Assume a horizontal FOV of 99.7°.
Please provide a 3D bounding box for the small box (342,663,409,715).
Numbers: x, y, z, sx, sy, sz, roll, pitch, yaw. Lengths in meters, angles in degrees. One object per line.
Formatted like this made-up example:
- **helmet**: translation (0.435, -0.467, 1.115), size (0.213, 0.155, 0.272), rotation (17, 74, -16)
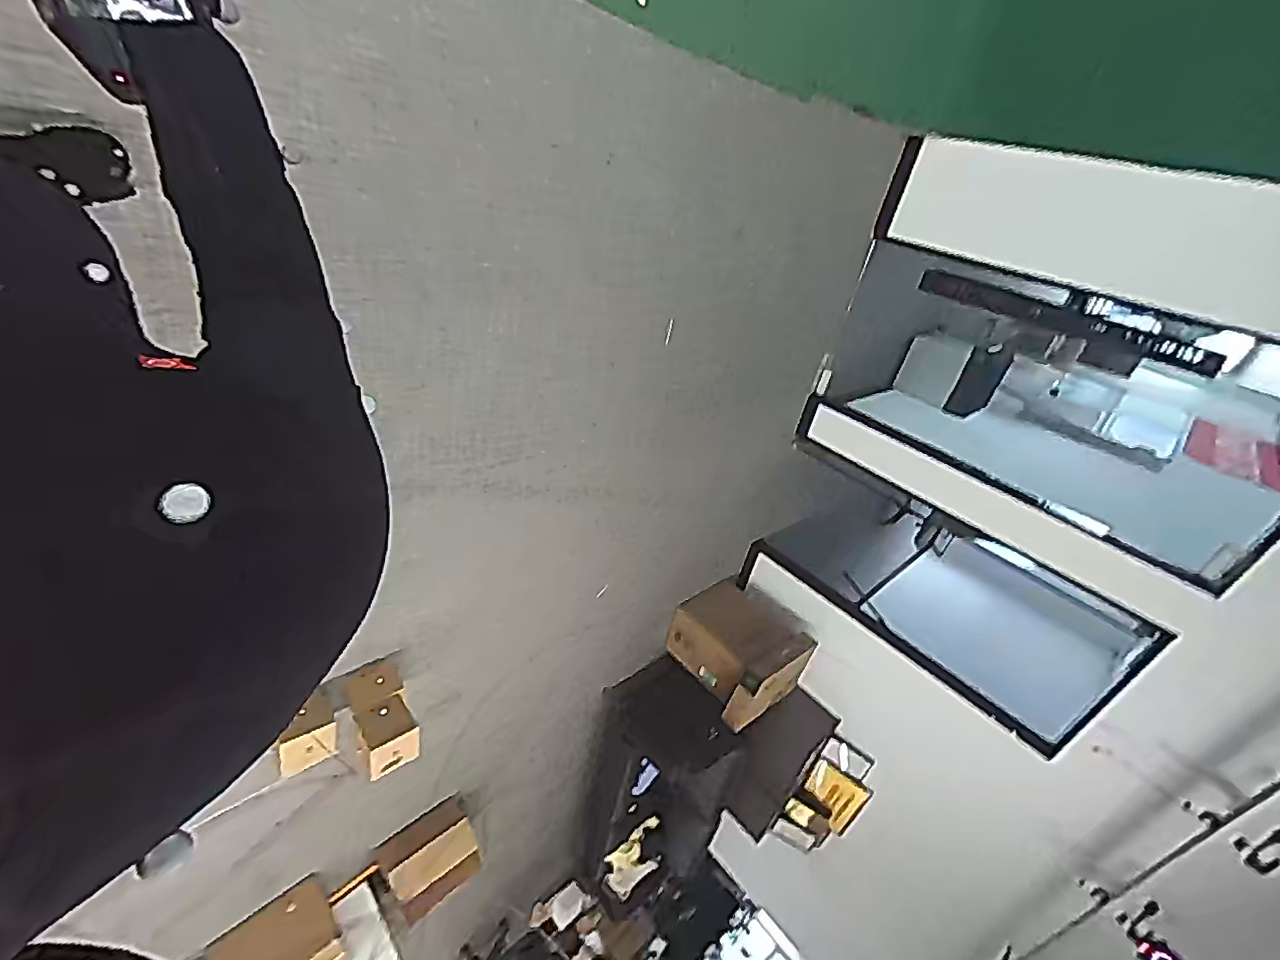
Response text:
- **small box**: translation (-0.985, 0.809, 2.011), size (0.168, 0.176, 0.179), rotation (-23, 136, -38)

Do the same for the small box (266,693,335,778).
- **small box**: translation (-1.159, 0.859, 1.842), size (0.168, 0.176, 0.179), rotation (-11, 128, -45)

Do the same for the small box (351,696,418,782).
- **small box**: translation (-0.899, 0.903, 1.901), size (0.168, 0.176, 0.179), rotation (-16, 131, -43)
